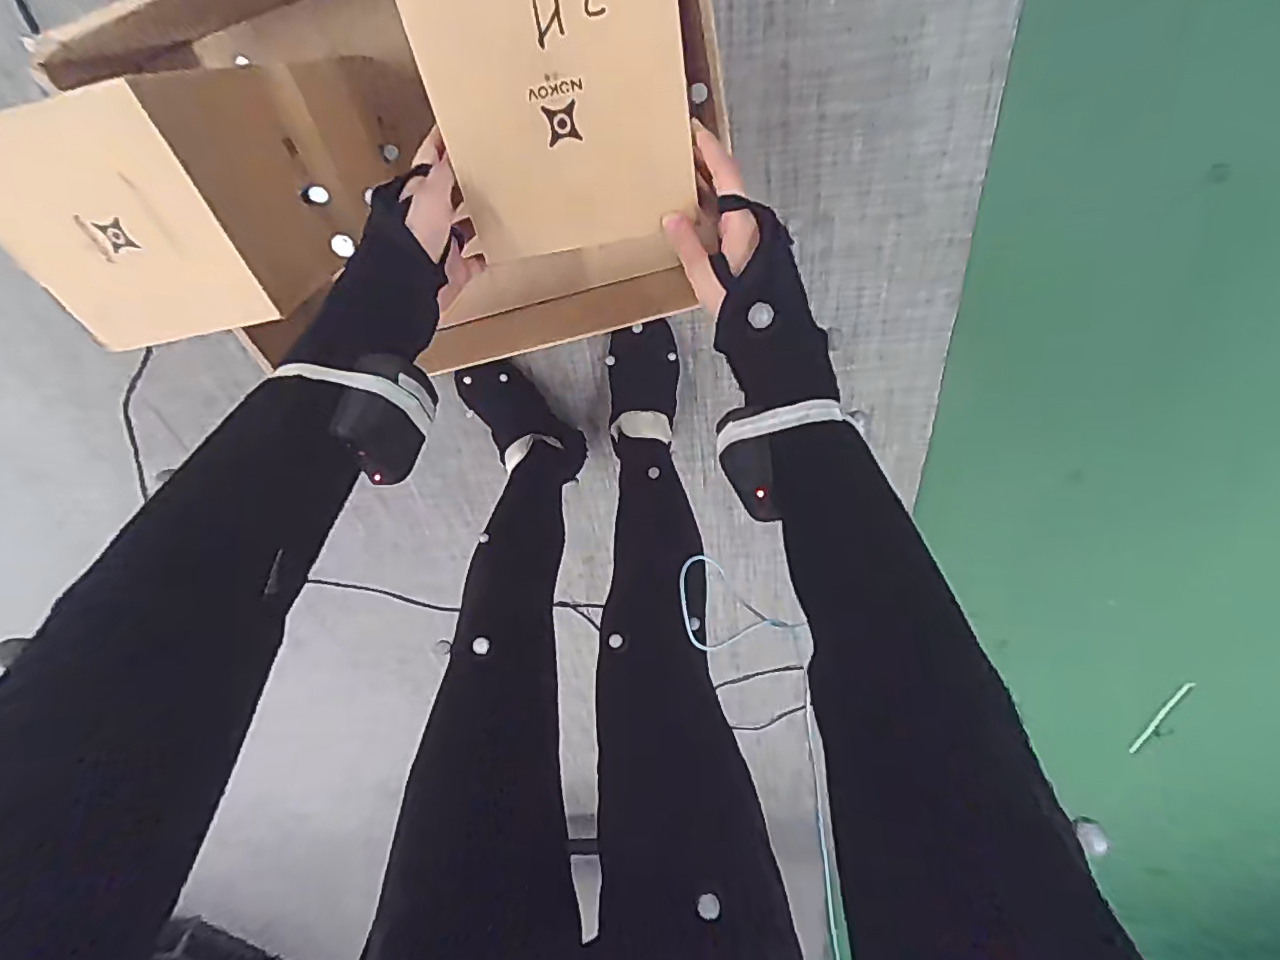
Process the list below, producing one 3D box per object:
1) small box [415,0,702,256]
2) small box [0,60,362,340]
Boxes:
[{"bbox_3d":[-0.043,-0.295,0.414,0.168,0.176,0.179,-7,127,5],"label":"small box"},{"bbox_3d":[-0.383,-0.242,0.465,0.179,0.176,0.168,-8,129,6],"label":"small box"}]
